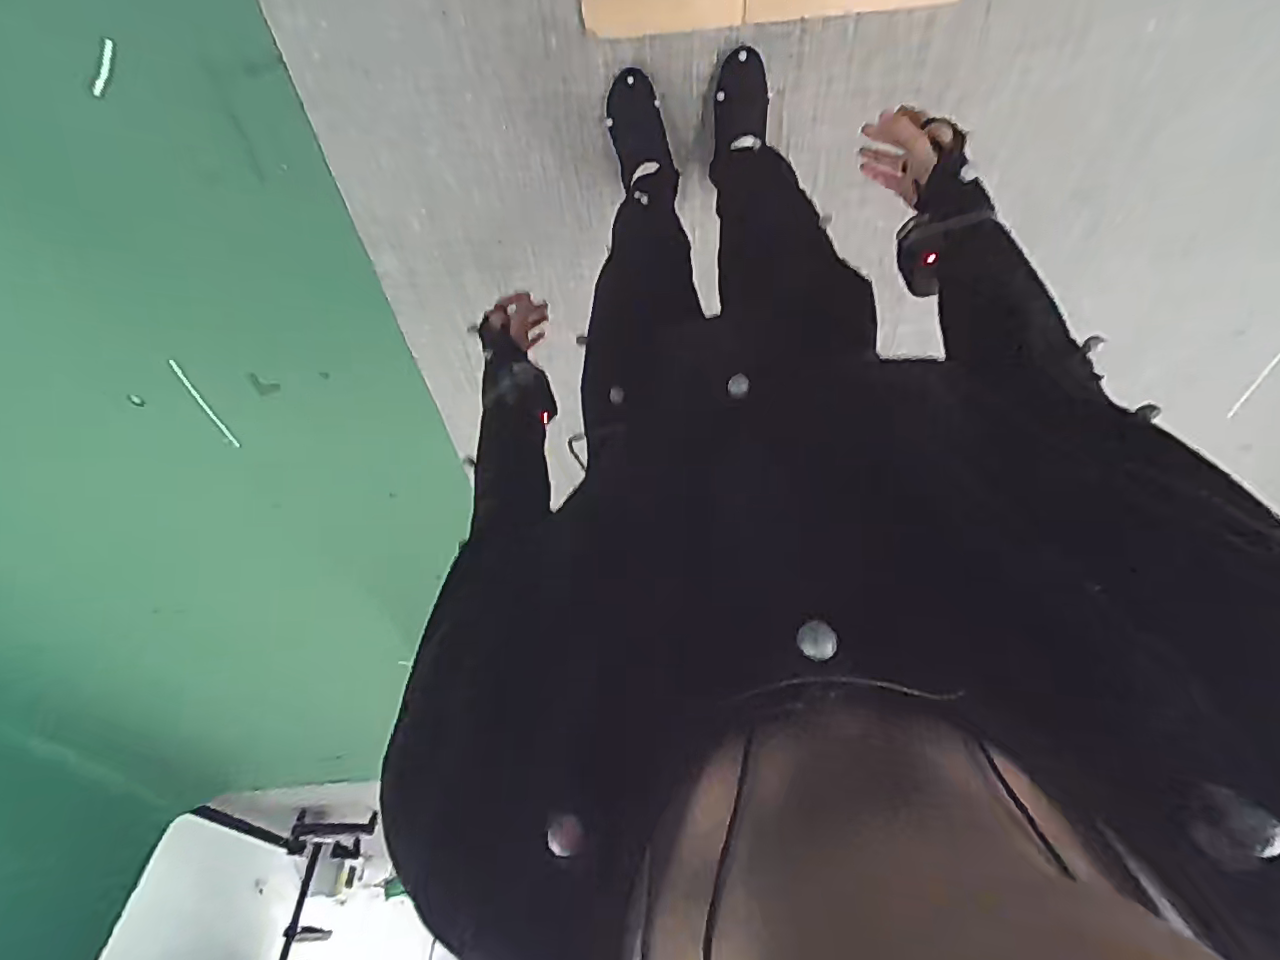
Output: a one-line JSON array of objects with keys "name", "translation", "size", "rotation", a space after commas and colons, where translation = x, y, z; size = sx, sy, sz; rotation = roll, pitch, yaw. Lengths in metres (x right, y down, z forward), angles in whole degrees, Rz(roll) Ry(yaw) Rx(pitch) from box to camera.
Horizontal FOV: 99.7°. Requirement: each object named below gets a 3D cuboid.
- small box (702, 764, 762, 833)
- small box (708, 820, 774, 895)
[{"name": "small box", "translation": [0.302, 1.071, 1.813], "size": [0.168, 0.176, 0.179], "rotation": [-4, 136, -1]}, {"name": "small box", "translation": [0.308, 1.175, 1.688], "size": [0.168, 0.176, 0.179], "rotation": [-4, 137, -1]}]
